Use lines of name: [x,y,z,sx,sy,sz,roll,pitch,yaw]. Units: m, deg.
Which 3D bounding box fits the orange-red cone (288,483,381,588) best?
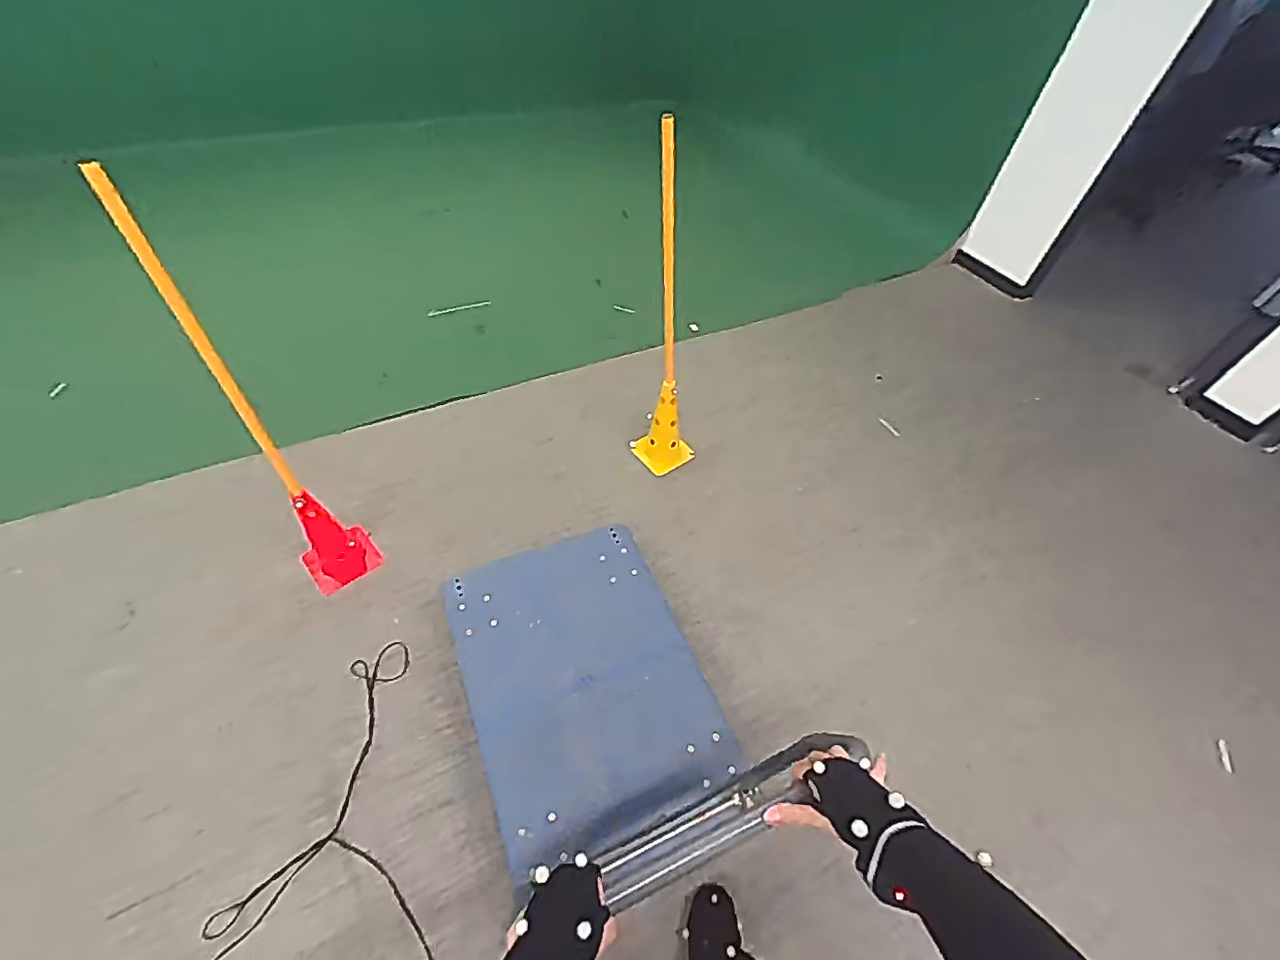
orange-red cone: [-0.960,0.133,1.625,0.199,0.360,0.198,-34,60,-26]
